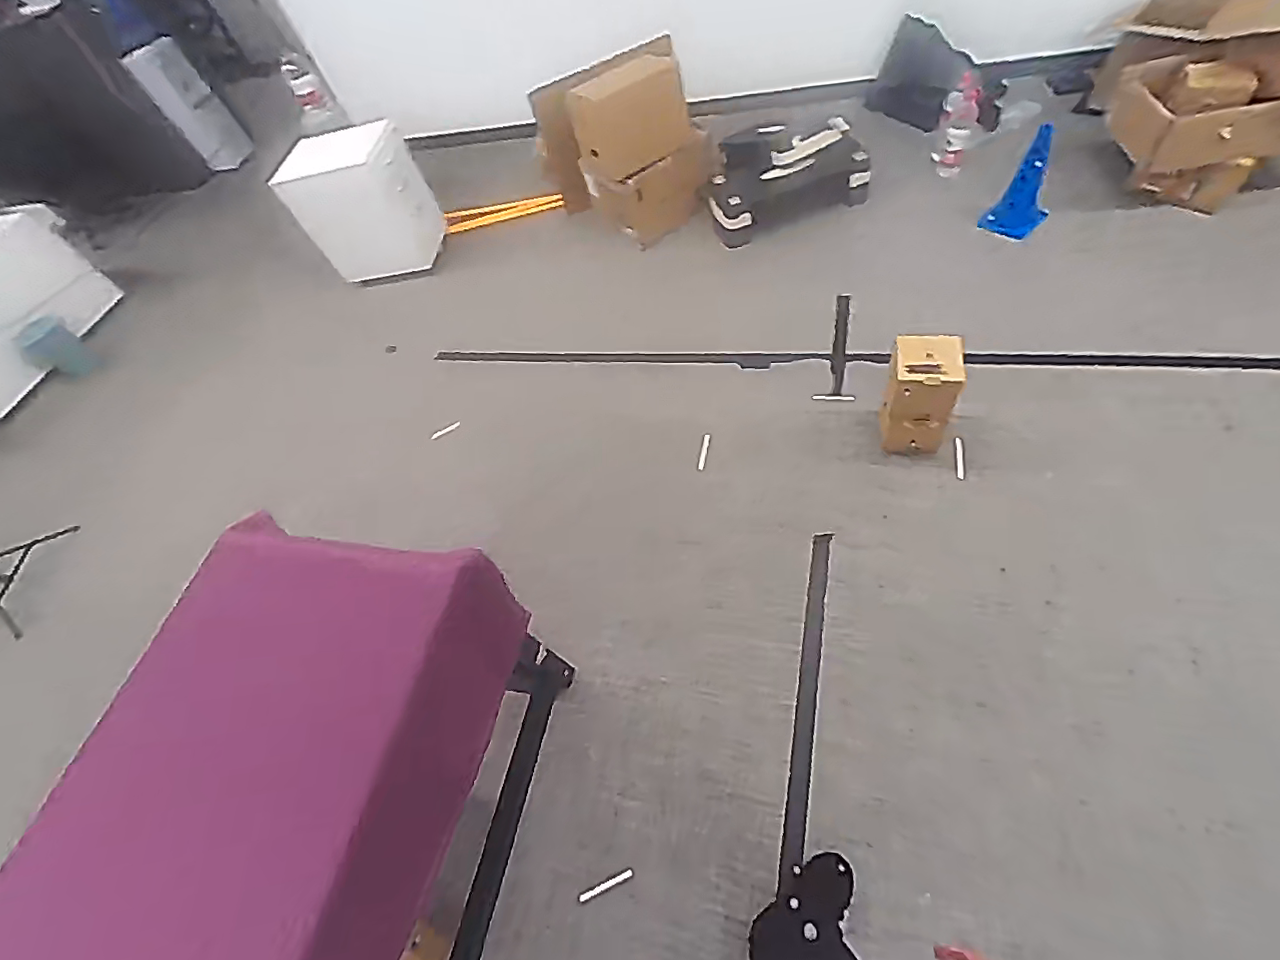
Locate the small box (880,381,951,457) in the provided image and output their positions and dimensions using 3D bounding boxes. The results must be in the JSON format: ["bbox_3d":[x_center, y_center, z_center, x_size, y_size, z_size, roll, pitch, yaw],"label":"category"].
[{"bbox_3d":[0.859,-0.193,1.701,0.168,0.176,0.179,2,59,16],"label":"small box"}]
